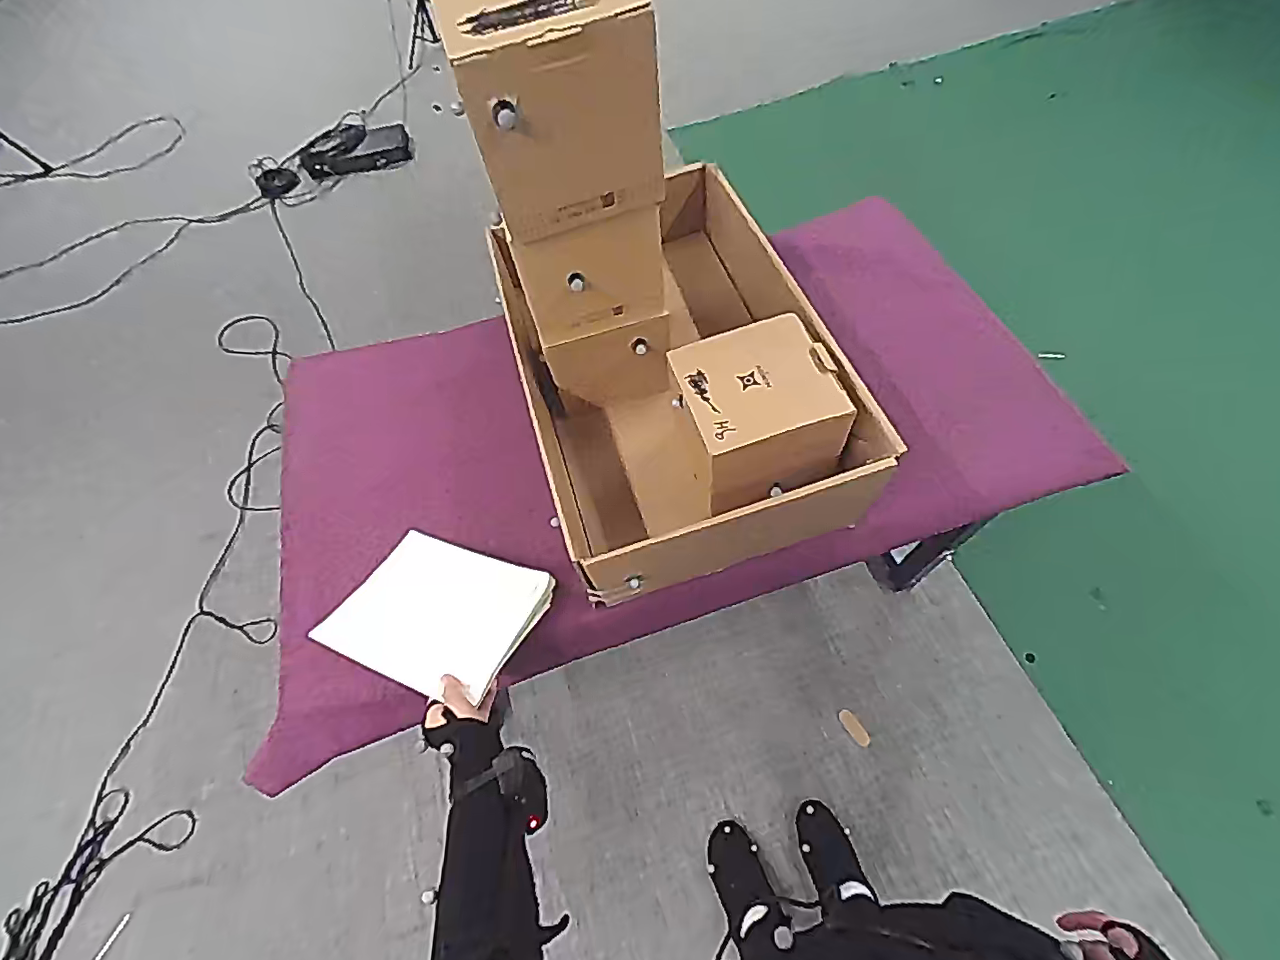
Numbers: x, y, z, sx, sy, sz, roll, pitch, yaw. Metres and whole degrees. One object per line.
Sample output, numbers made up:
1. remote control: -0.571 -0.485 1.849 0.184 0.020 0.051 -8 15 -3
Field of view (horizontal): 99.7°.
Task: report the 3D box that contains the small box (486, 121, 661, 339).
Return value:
1. small box: -0.076 -0.299 0.677 0.168 0.176 0.179 -16 62 -3
